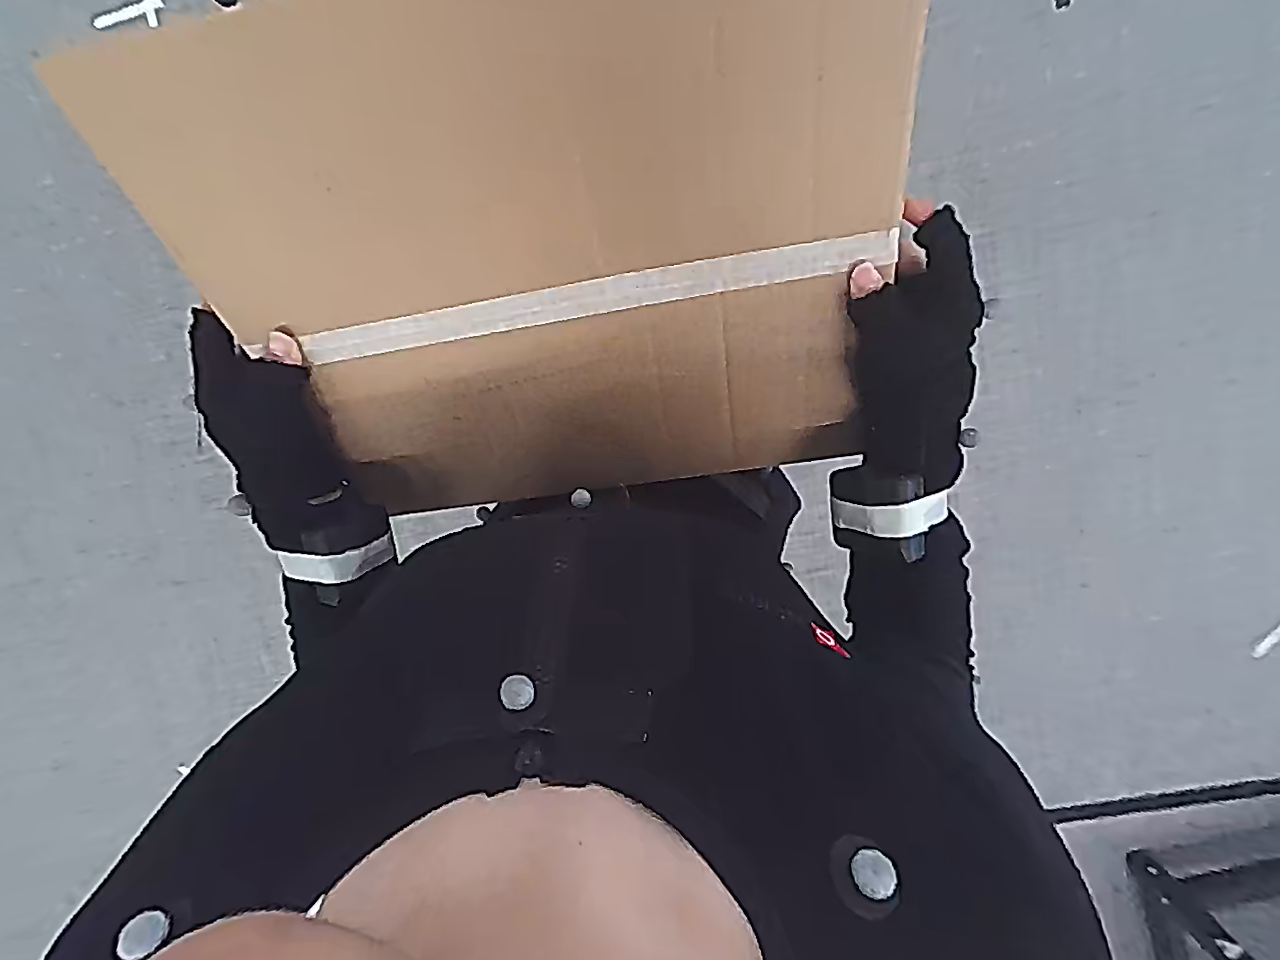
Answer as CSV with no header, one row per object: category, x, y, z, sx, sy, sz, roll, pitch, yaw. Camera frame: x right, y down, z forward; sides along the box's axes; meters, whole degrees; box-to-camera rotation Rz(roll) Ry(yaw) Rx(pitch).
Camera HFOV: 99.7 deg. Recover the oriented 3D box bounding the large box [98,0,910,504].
large box,-0.053,-0.217,0.451,0.408,0.320,0.320,-8,133,7
